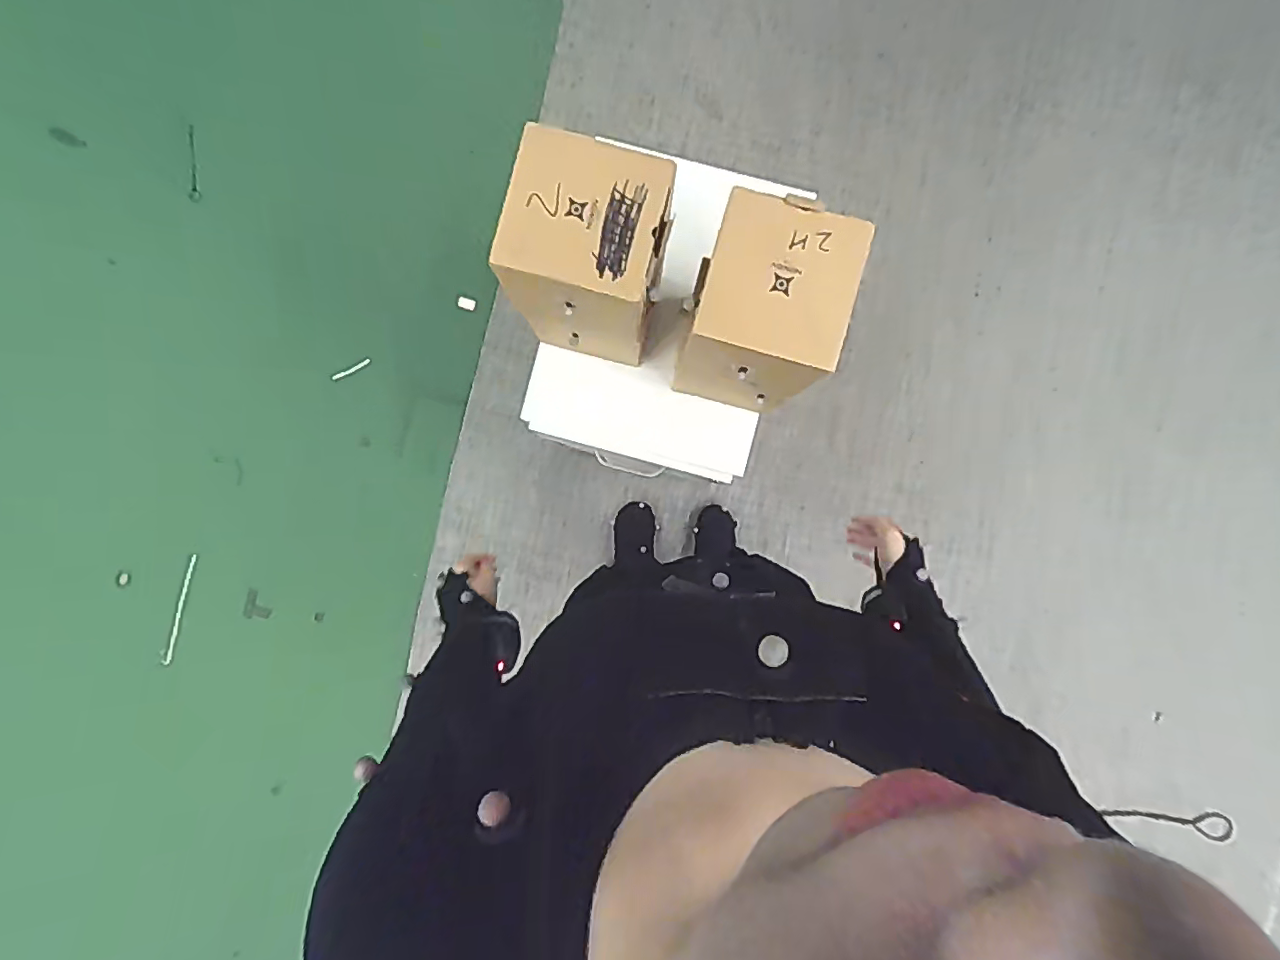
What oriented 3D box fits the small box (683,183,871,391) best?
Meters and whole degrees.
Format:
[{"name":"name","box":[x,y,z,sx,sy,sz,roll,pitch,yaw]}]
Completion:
[{"name":"small box","box":[0.155,-0.223,0.676,0.168,0.176,0.179,16,89,0]}]

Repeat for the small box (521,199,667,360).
[{"name":"small box","box":[-0.066,-0.298,0.841,0.179,0.176,0.168,14,90,-1]}]
